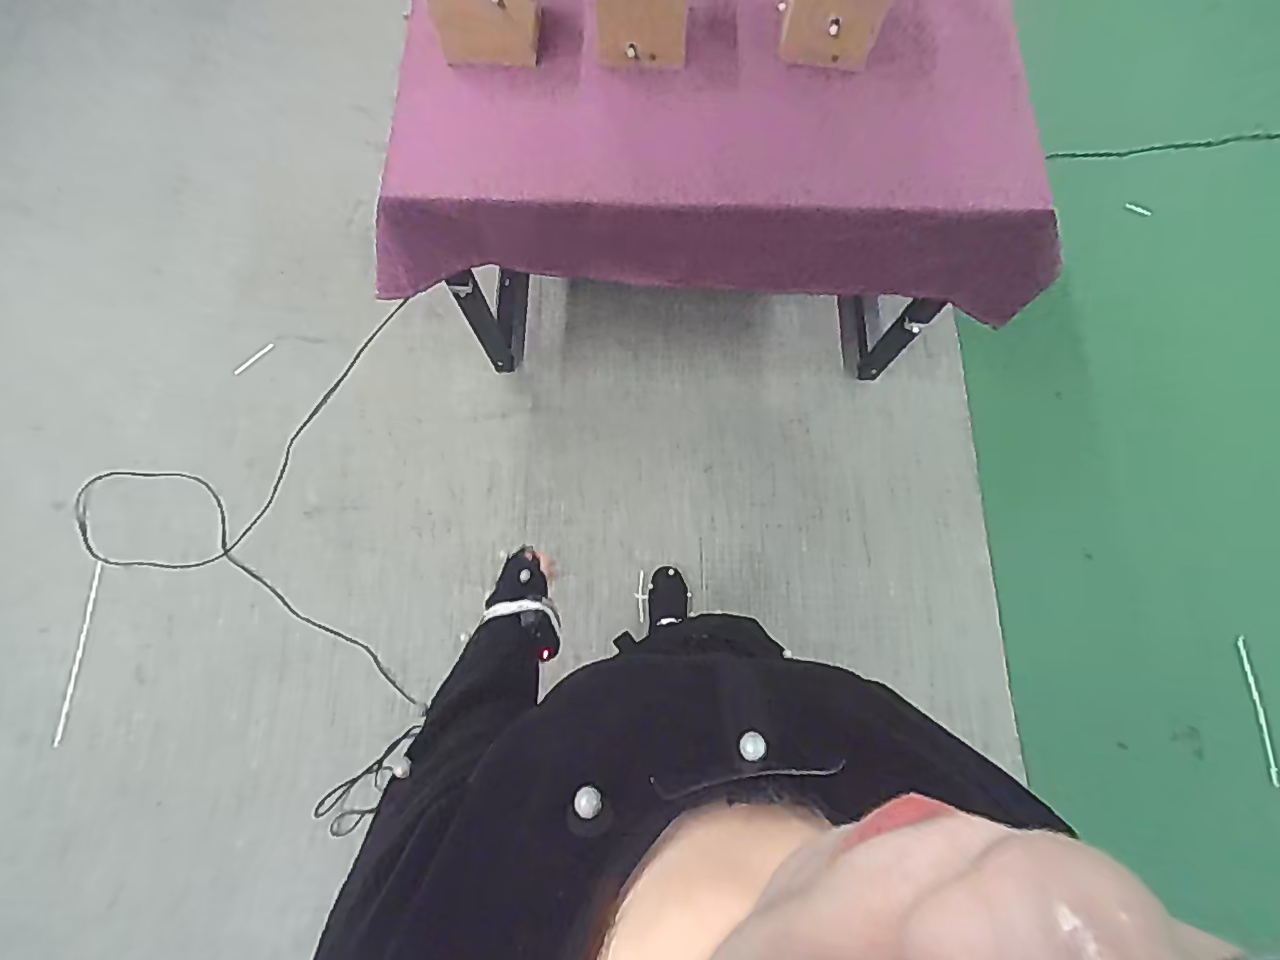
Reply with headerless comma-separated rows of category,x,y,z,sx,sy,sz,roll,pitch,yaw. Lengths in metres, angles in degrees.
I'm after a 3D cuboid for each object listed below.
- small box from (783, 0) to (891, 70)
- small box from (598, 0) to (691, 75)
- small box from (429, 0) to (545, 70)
small box,0.367,-0.899,0.989,0.168,0.176,0.179,8,76,2
small box,0.010,-0.894,0.993,0.168,0.176,0.179,3,76,2
small box,-0.277,-0.896,0.993,0.179,0.176,0.168,3,75,1
